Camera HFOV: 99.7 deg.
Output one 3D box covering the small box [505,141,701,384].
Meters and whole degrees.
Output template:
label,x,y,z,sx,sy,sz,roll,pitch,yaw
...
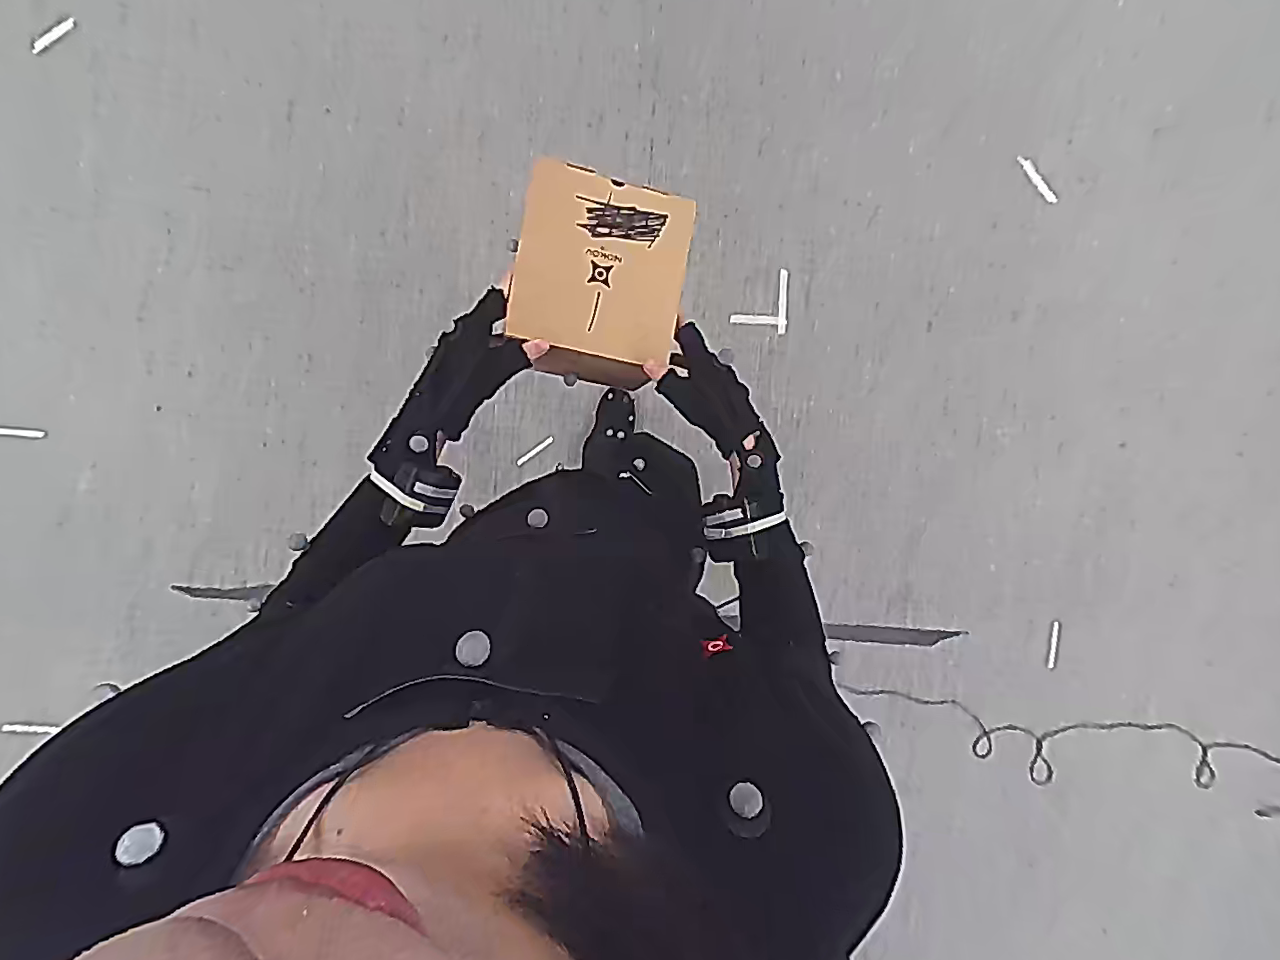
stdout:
label,x,y,z,sx,sy,sz,roll,pitch,yaw
small box,-0.049,-0.216,0.591,0.168,0.176,0.179,10,90,-12
